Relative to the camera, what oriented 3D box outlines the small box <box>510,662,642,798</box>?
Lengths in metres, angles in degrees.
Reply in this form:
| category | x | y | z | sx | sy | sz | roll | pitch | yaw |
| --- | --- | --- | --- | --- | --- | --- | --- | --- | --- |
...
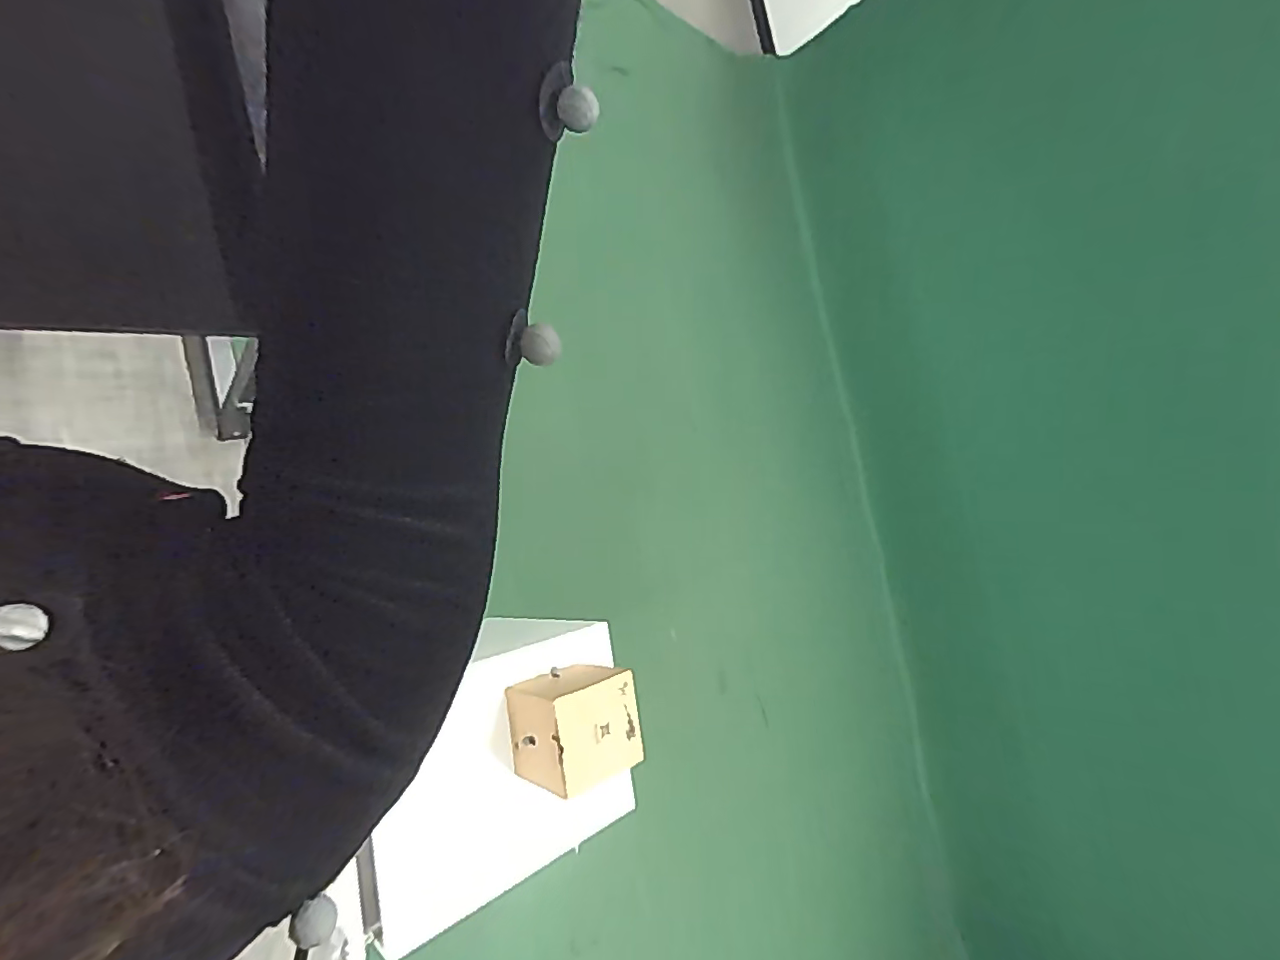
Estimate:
| category | x | y | z | sx | sy | sz | roll | pitch | yaw |
| --- | --- | --- | --- | --- | --- | --- | --- | --- | --- |
| small box | -0.125 | 0.445 | 0.993 | 0.179 | 0.176 | 0.168 | -4 | 84 | -42 |
